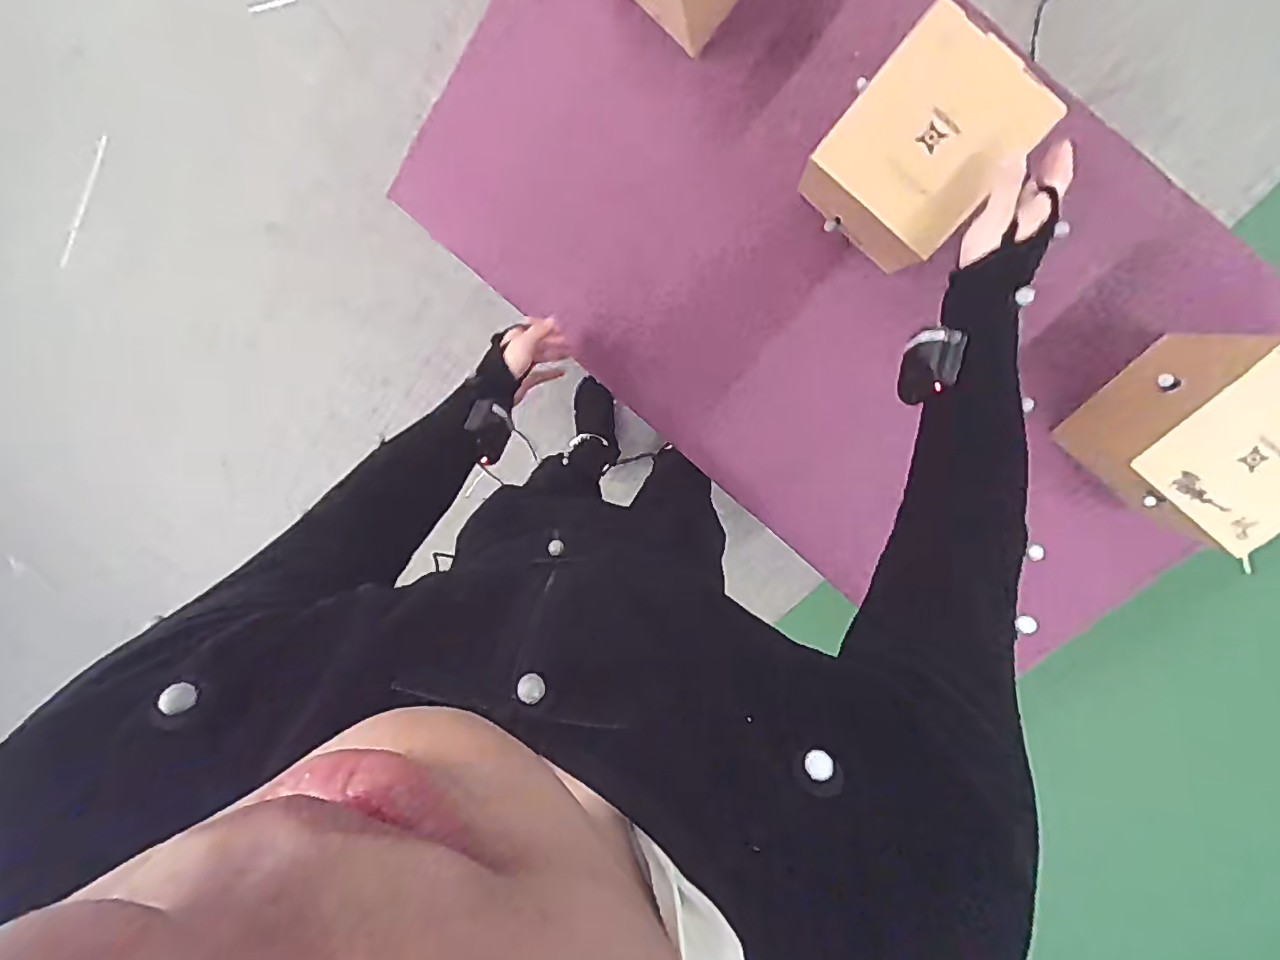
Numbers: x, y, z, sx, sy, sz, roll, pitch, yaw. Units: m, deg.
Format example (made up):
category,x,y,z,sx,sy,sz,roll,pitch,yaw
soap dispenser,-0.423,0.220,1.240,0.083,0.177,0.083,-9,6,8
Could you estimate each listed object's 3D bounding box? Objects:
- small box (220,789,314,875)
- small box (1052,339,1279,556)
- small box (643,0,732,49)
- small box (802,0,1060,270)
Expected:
category,x,y,z,sx,sy,sz,roll,pitch,yaw
small box,-1.307,1.229,1.903,0.168,0.176,0.179,-36,95,19
small box,0.654,-0.049,0.641,0.168,0.176,0.179,41,108,-2
small box,0.051,-0.631,0.586,0.168,0.176,0.179,43,109,-4
small box,0.306,-0.368,0.618,0.168,0.176,0.179,42,109,-2
